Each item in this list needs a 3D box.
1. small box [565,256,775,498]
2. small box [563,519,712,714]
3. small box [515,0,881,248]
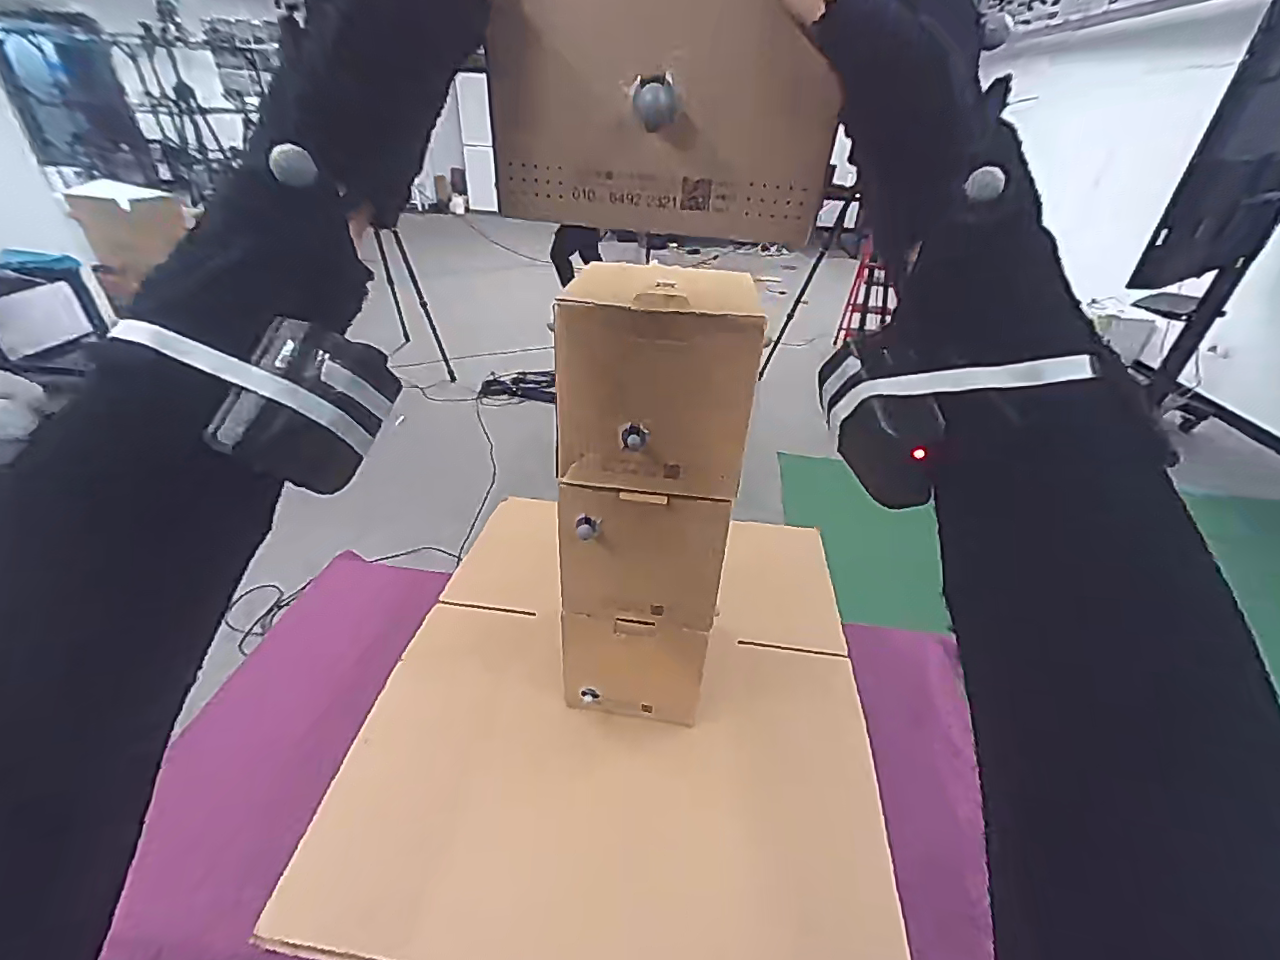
[{"bbox_3d":[0.024,-0.105,0.523,0.168,0.176,0.179,7,32,3],"label":"small box"},{"bbox_3d":[0.003,0.174,0.695,0.168,0.176,0.179,5,34,3],"label":"small box"},{"bbox_3d":[0.031,-0.246,0.304,0.168,0.176,0.179,8,37,5],"label":"small box"}]
